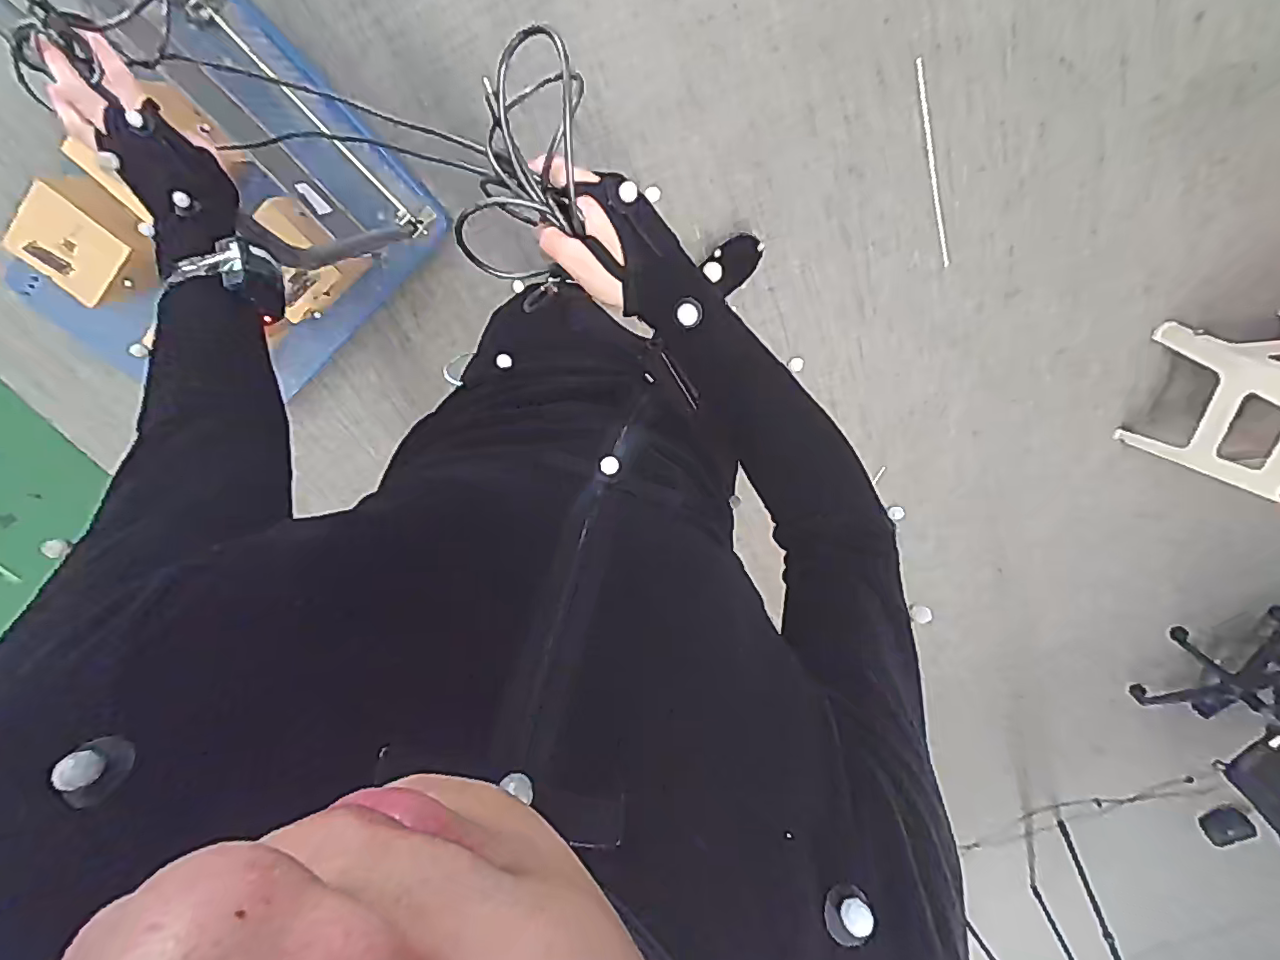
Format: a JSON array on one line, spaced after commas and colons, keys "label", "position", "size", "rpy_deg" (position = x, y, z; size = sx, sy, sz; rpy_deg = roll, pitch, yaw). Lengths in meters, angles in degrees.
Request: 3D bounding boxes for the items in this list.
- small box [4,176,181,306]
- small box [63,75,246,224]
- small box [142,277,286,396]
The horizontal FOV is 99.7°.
[{"label": "small box", "position": [-1.109, -0.494, 1.112], "size": [0.179, 0.176, 0.168], "rpy_deg": [-38, 117, 18]}, {"label": "small box", "position": [-0.917, -0.627, 1.040], "size": [0.179, 0.176, 0.168], "rpy_deg": [-34, 117, 17]}, {"label": "small box", "position": [-0.946, -0.329, 1.221], "size": [0.179, 0.176, 0.168], "rpy_deg": [-39, 115, 19]}]
